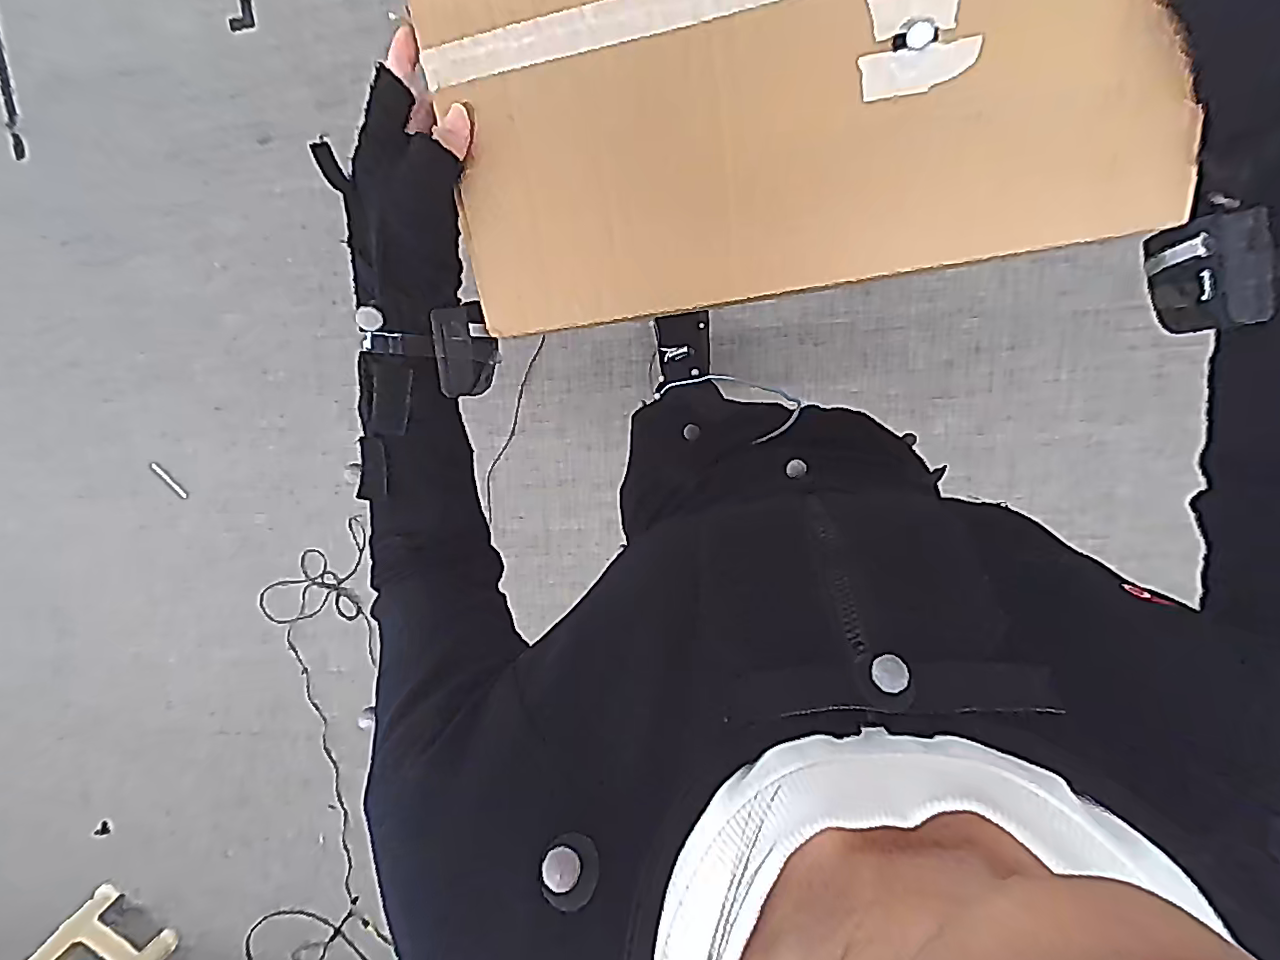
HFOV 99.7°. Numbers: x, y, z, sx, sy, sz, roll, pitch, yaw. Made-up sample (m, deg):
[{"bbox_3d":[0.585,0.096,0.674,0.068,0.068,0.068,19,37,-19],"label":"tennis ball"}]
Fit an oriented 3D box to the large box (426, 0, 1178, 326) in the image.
[{"bbox_3d":[0.090,-0.319,0.437,0.408,0.320,0.320,-7,107,10],"label":"large box"}]
